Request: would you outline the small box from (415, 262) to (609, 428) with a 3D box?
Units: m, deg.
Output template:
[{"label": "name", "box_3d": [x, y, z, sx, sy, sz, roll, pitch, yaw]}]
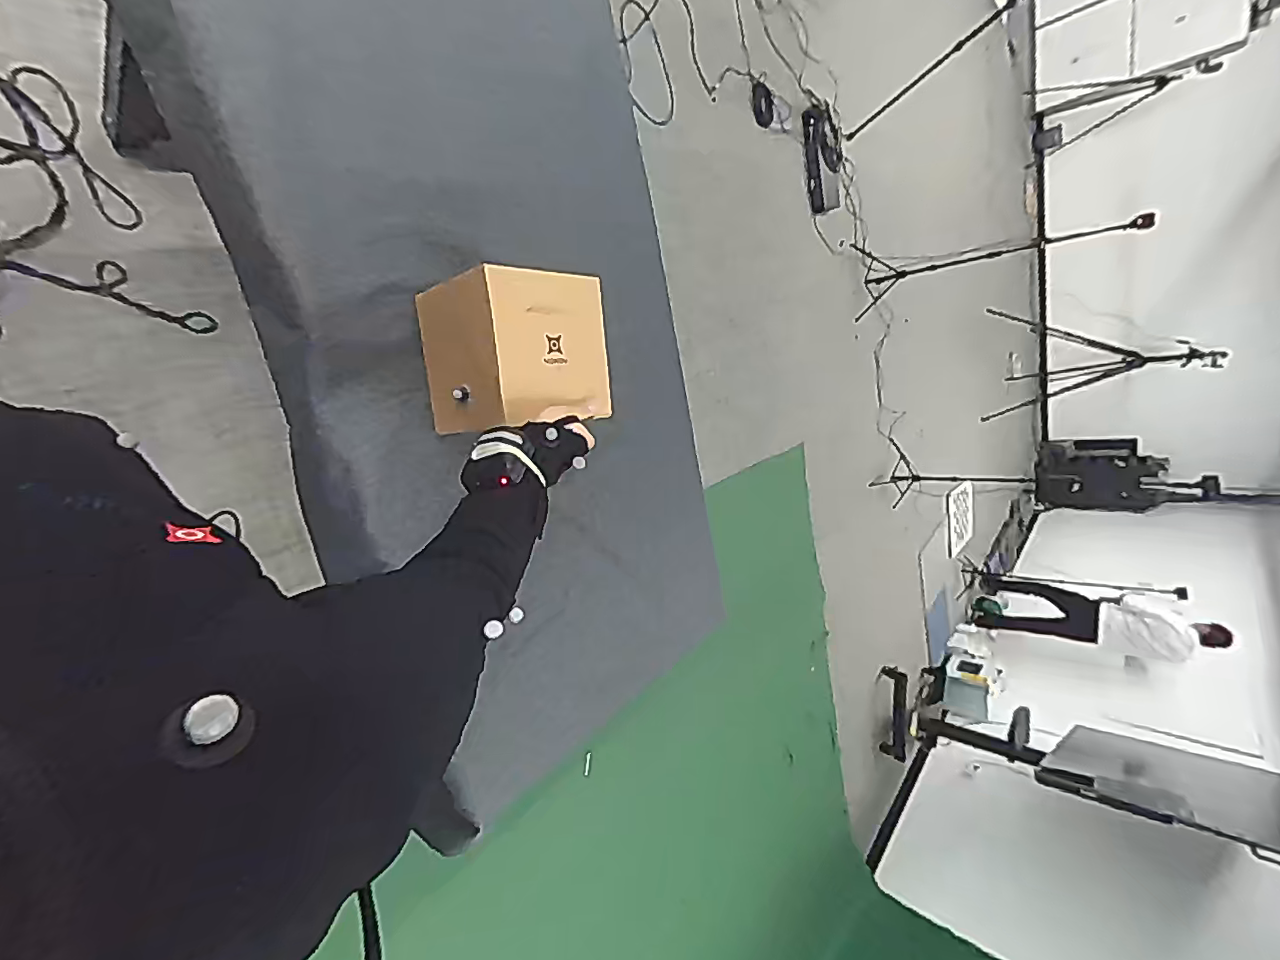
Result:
[{"label": "small box", "box_3d": [-0.162, -0.159, 0.688, 0.168, 0.176, 0.179, -15, 103, -46]}]
